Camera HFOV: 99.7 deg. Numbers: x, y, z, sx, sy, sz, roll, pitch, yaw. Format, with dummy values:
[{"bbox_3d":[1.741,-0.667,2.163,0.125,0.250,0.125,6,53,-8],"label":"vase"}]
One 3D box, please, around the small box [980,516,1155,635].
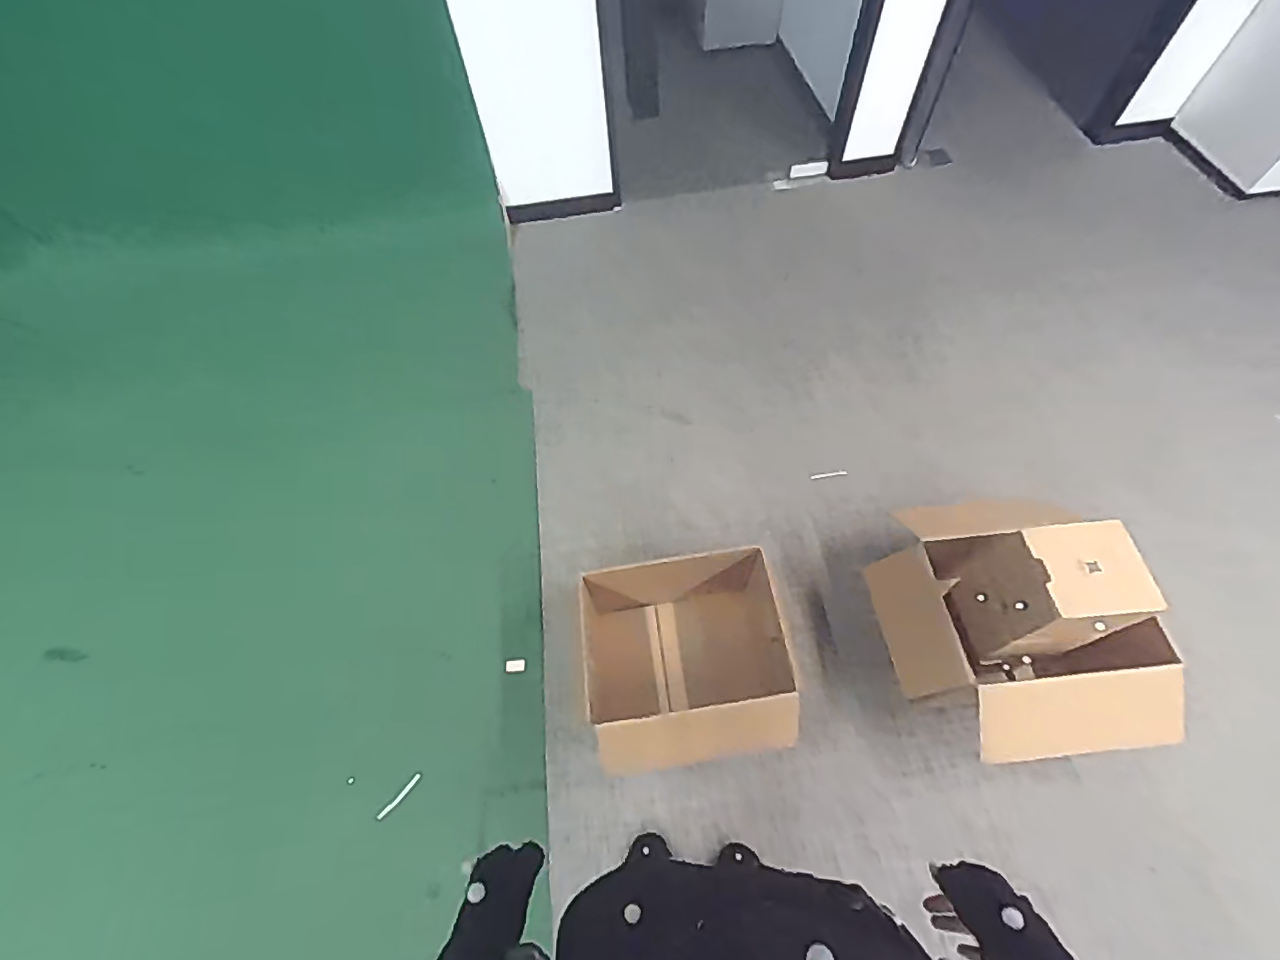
[{"bbox_3d":[0.774,0.184,1.010,0.179,0.176,0.168,-7,61,1],"label":"small box"}]
